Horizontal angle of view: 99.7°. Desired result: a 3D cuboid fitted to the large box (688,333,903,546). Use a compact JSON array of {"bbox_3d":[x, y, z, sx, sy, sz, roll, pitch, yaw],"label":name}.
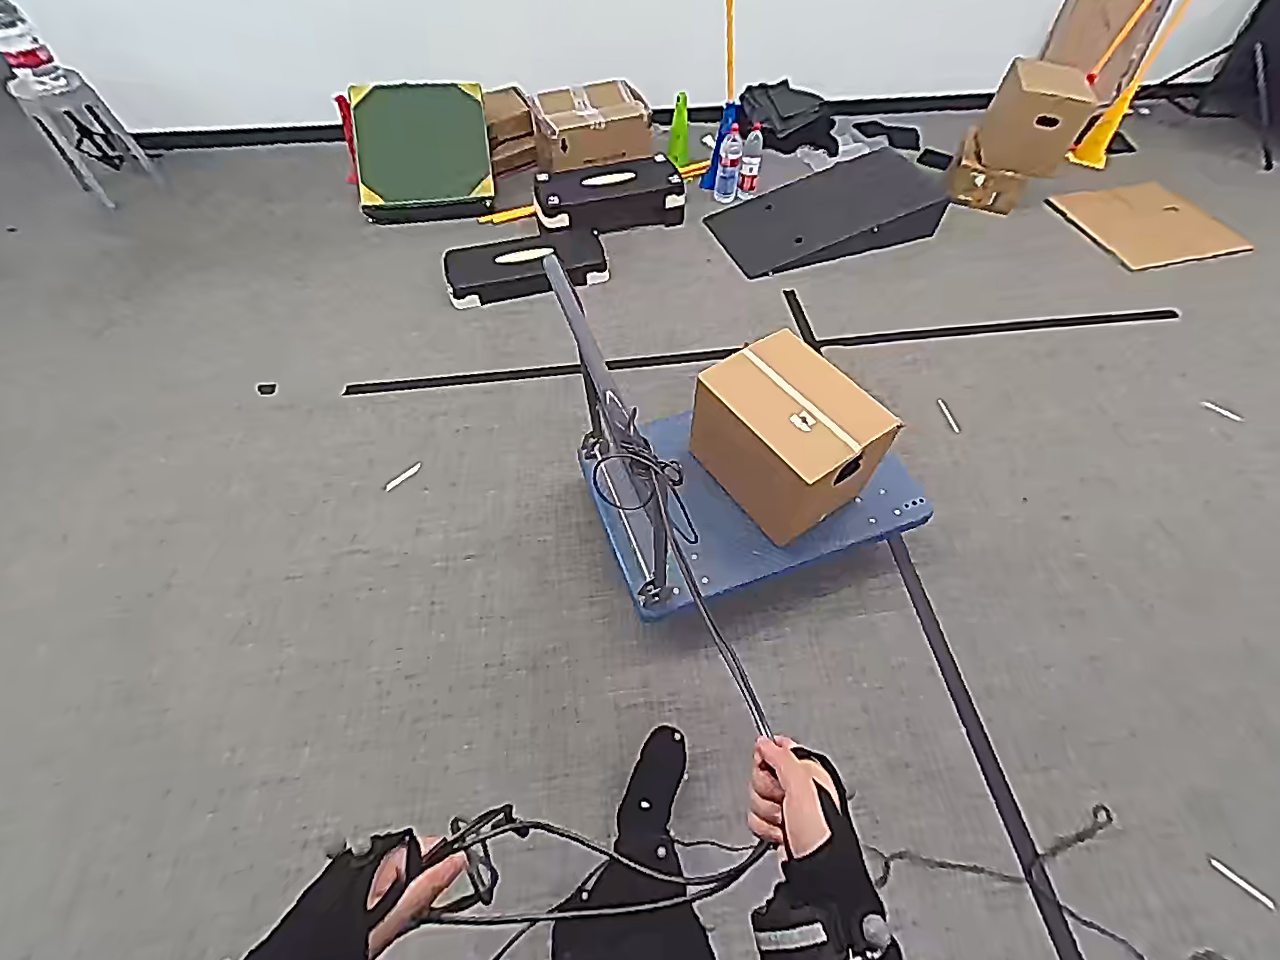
[{"bbox_3d":[0.376,-0.107,1.427,0.320,0.320,0.408,-30,63,-18],"label":"large box"}]
